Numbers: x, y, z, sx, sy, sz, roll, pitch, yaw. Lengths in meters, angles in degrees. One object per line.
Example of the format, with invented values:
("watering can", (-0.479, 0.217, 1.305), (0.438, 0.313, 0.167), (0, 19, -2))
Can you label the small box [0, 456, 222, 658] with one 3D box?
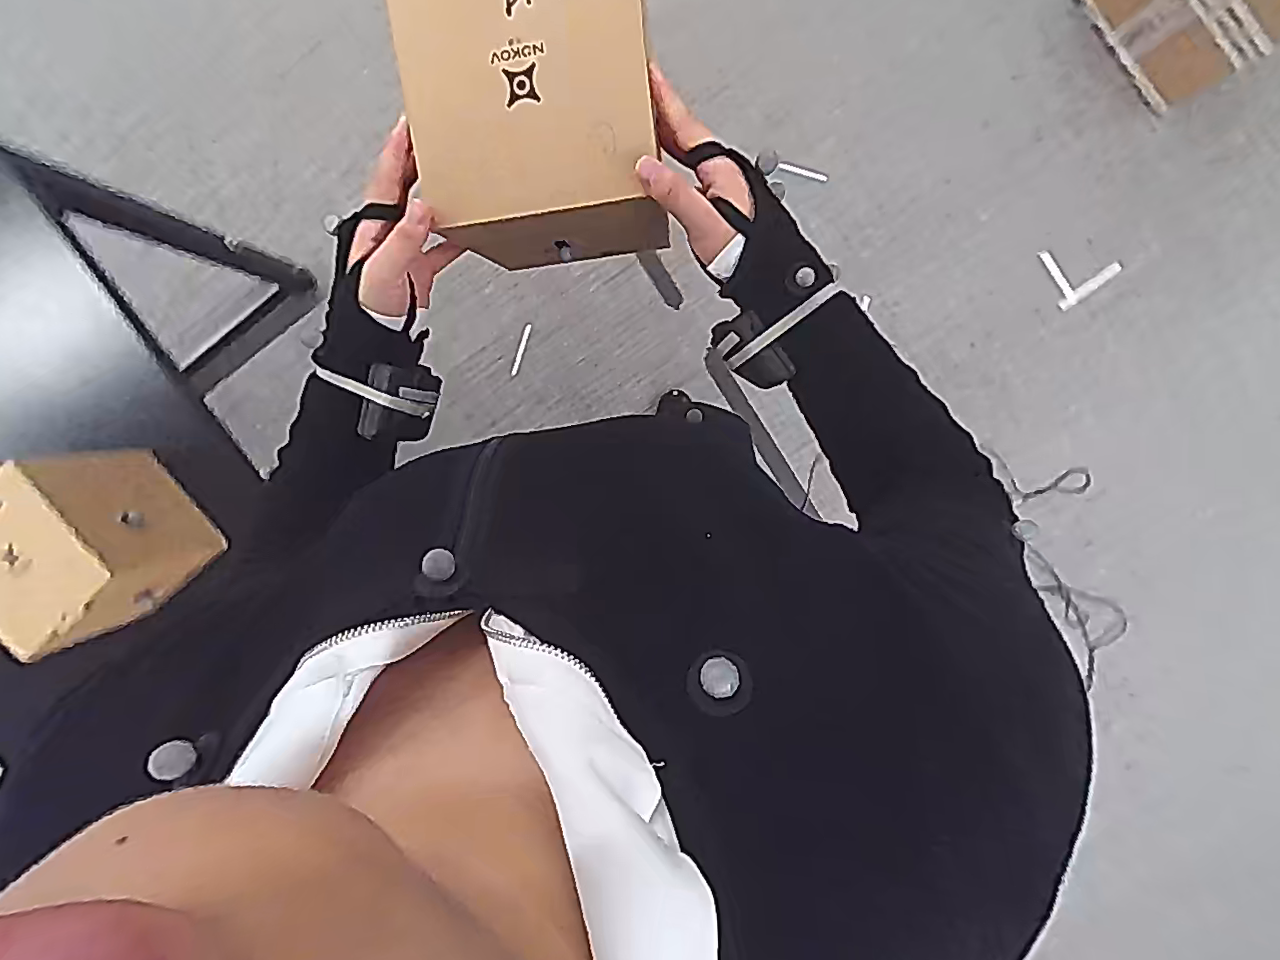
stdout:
("small box", (-0.708, 0.085, 0.700), (0.168, 0.176, 0.179), (-39, 95, 6))
